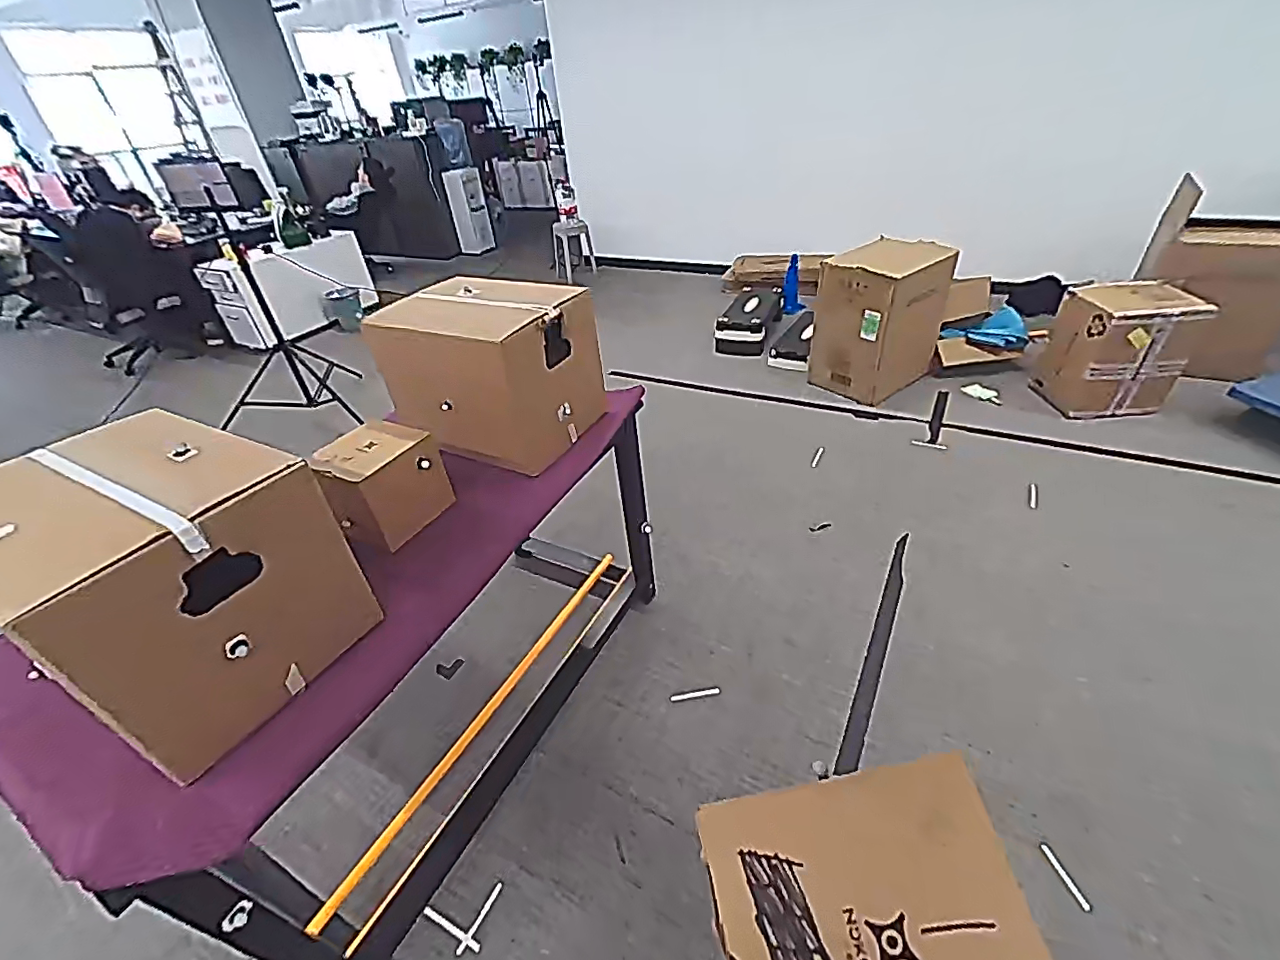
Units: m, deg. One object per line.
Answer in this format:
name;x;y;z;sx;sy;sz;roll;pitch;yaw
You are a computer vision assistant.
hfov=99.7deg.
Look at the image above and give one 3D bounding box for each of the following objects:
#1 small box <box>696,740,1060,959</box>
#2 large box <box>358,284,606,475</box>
small box;0.148;0.294;0.372;0.179;0.176;0.168;-14;57;2
large box;-0.339;-0.247;1.253;0.408;0.320;0.320;13;40;26
